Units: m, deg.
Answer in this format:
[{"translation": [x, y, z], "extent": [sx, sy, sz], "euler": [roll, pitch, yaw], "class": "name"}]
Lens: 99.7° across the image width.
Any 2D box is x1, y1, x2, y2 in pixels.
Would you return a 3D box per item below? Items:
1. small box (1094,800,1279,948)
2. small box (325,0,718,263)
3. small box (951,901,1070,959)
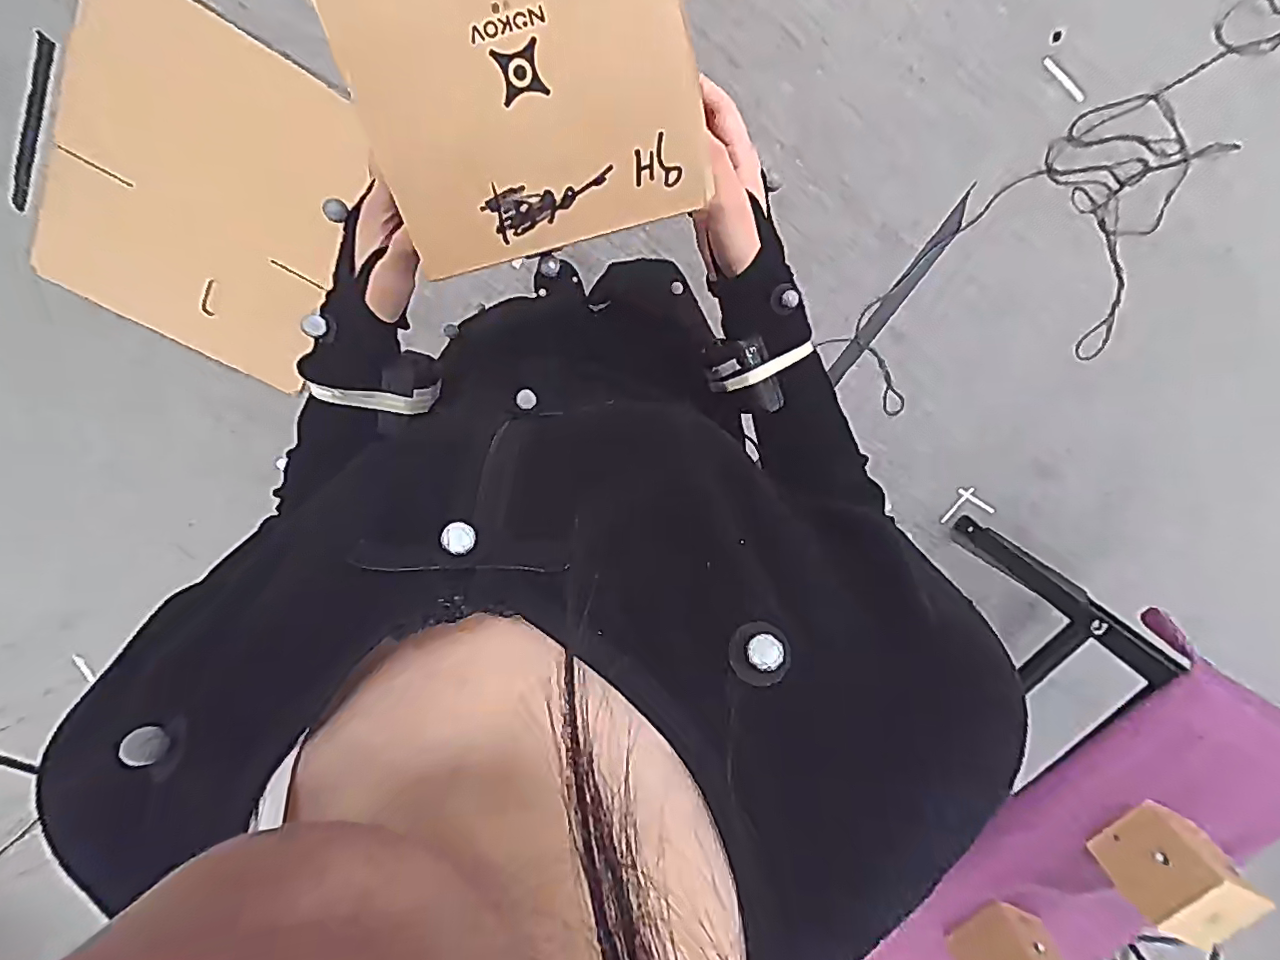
[{"translation": [1.095, 0.791, 1.098], "extent": [0.179, 0.176, 0.168], "euler": [28, 108, -15], "class": "small box"}, {"translation": [-0.060, -0.243, 0.322], "extent": [0.168, 0.176, 0.179], "euler": [-13, 117, 5], "class": "small box"}, {"translation": [0.849, 1.091, 1.210], "extent": [0.168, 0.176, 0.179], "euler": [32, 108, -15], "class": "small box"}]
